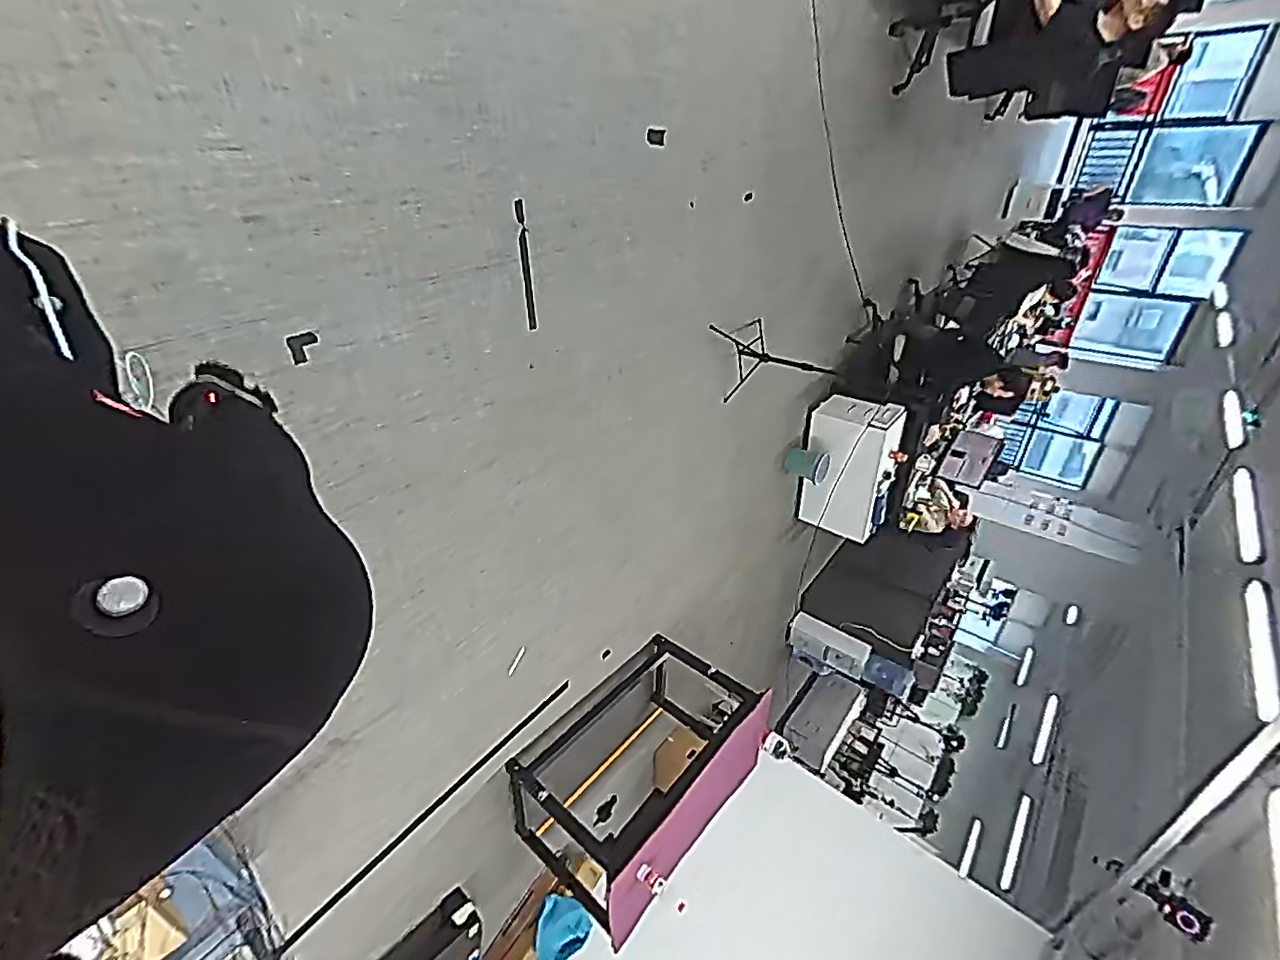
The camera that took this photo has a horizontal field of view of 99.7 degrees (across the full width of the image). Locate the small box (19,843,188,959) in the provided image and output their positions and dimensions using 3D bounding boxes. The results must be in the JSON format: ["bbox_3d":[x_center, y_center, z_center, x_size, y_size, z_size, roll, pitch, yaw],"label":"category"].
[{"bbox_3d":[-1.009,0.840,1.022,0.168,0.176,0.179,-32,134,-40],"label":"small box"}]
